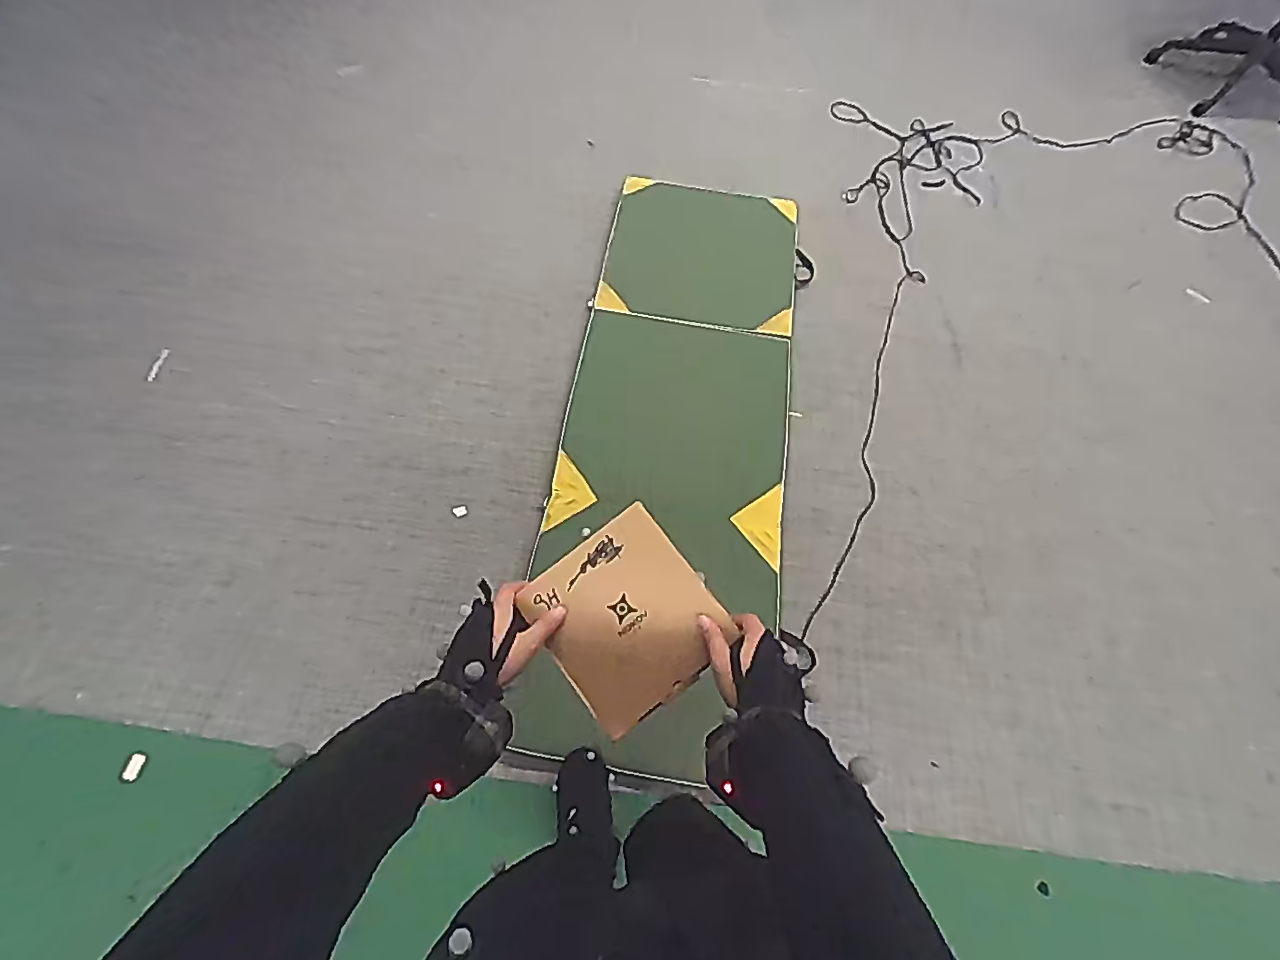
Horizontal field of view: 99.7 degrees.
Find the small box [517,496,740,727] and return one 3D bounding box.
[{"bbox_3d":[-0.012,0.144,0.626,0.168,0.176,0.179,-36,80,-8],"label":"small box"}]
